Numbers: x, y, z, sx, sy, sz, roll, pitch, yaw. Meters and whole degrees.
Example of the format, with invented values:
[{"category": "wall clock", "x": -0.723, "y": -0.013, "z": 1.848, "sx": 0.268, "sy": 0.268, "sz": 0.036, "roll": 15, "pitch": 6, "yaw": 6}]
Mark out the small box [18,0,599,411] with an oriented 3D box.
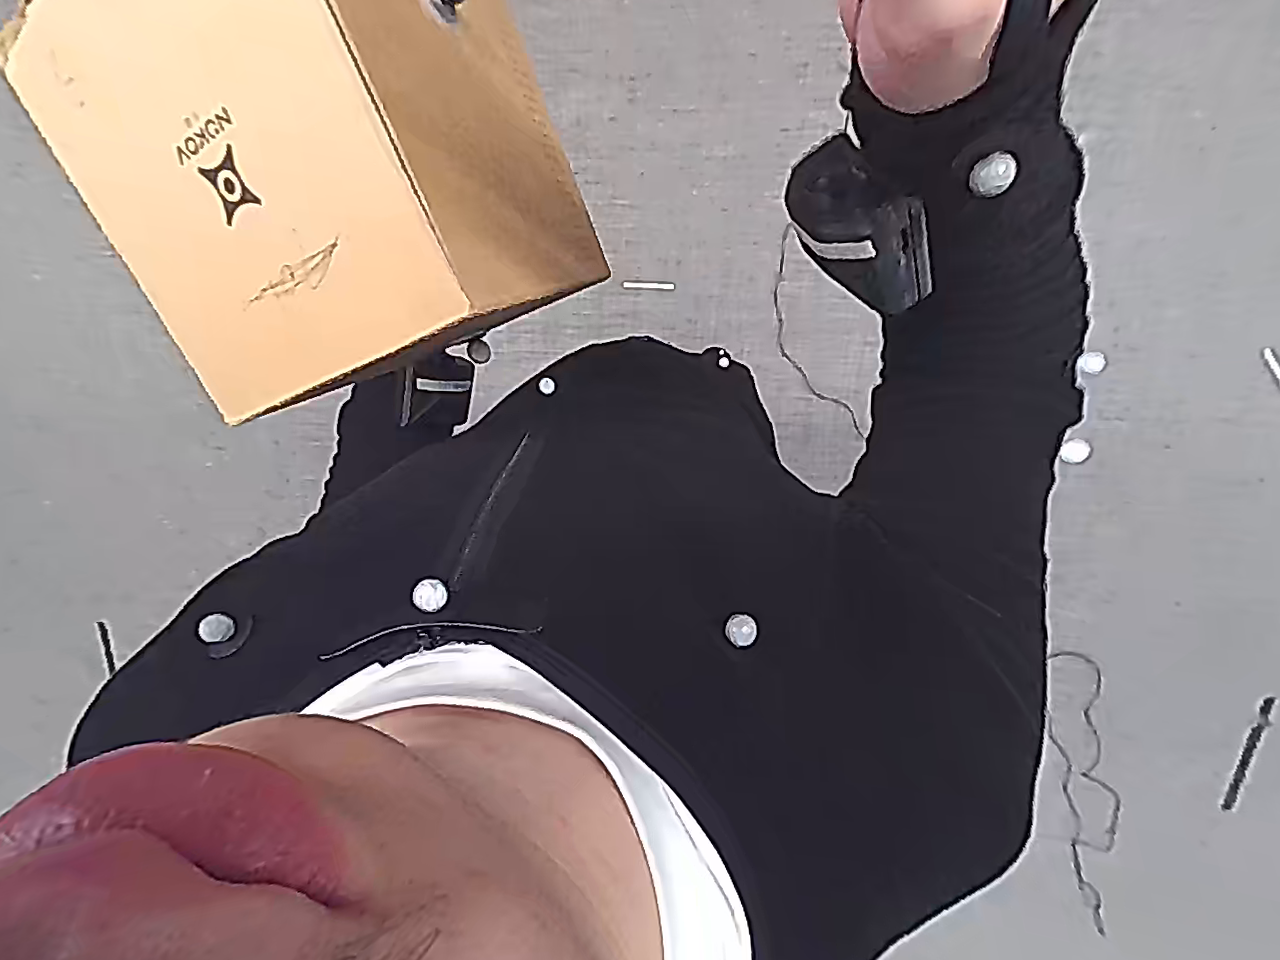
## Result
[{"category": "small box", "x": -0.146, "y": -0.161, "z": 0.300, "sx": 0.168, "sy": 0.176, "sz": 0.179, "roll": -14, "pitch": 110, "yaw": 23}]
